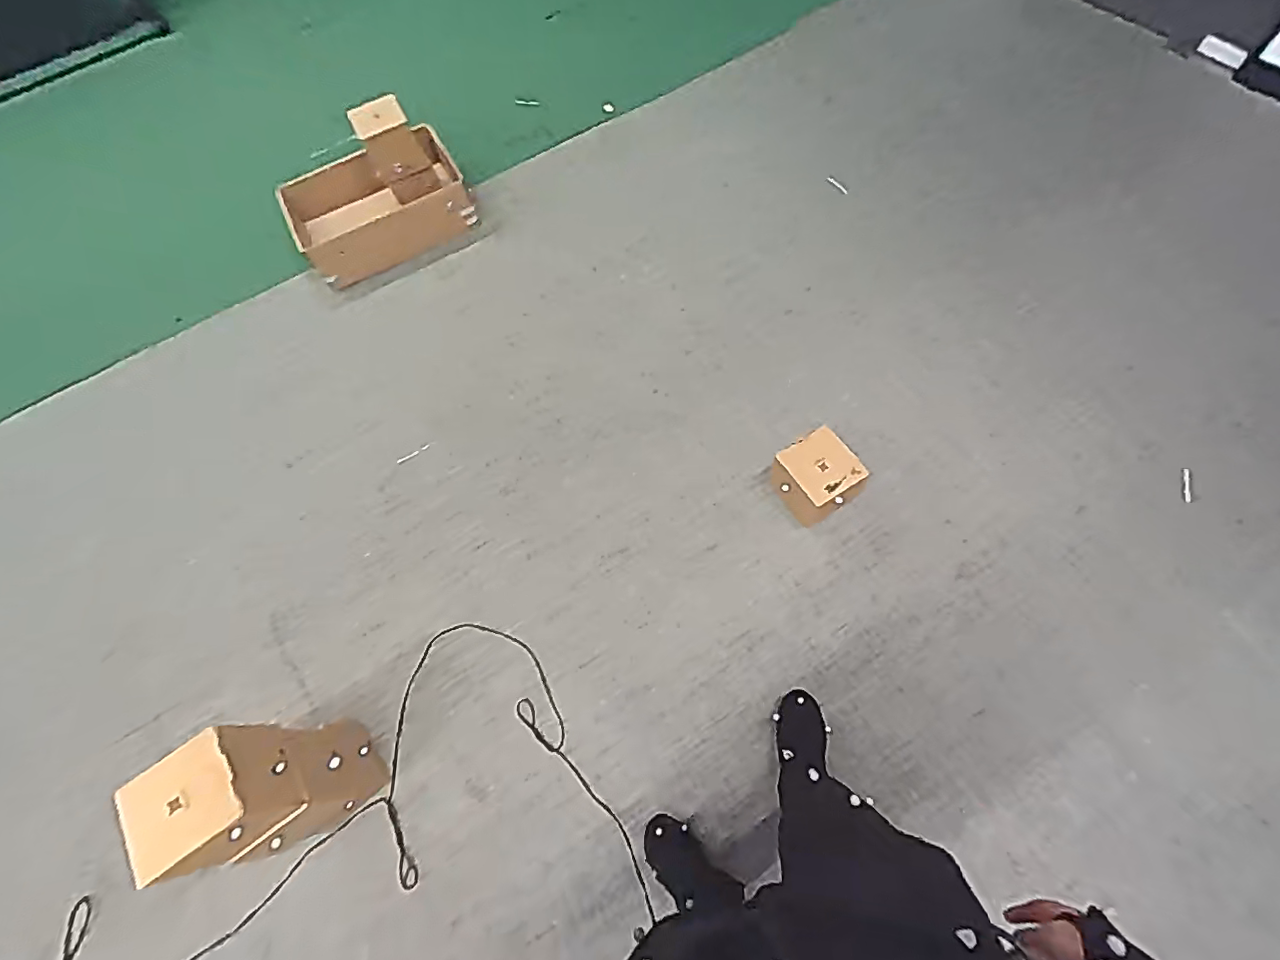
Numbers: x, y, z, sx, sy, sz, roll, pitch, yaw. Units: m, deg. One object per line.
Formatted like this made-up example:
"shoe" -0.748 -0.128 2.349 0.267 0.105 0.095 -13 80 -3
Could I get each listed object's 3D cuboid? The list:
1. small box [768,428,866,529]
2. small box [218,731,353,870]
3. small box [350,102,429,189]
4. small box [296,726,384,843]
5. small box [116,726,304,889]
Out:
"small box" 0.458 0.000 1.437 0.168 0.176 0.179 -31 65 -8
"small box" -0.727 0.635 1.092 0.179 0.176 0.168 -35 67 -11
"small box" -0.866 -1.156 1.875 0.168 0.176 0.179 -28 68 -6
"small box" -0.724 0.692 1.246 0.179 0.176 0.168 -39 67 -11
"small box" -0.743 0.560 0.948 0.179 0.176 0.168 -36 67 -11
